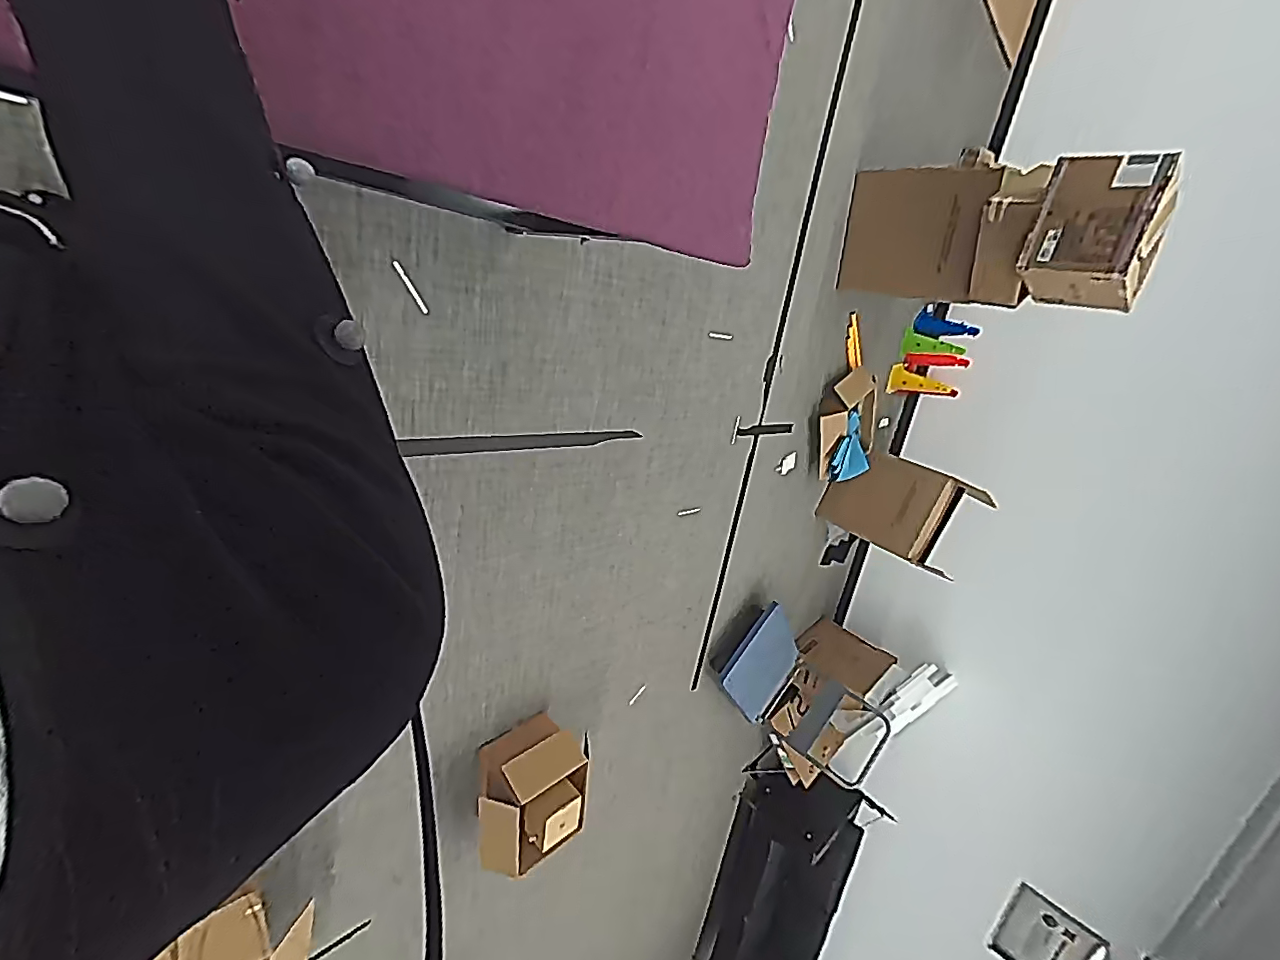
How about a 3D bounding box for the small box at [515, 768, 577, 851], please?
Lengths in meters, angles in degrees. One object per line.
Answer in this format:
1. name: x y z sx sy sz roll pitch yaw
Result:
1. small box: -0.365 1.252 2.069 0.168 0.176 0.179 -12 118 -45
